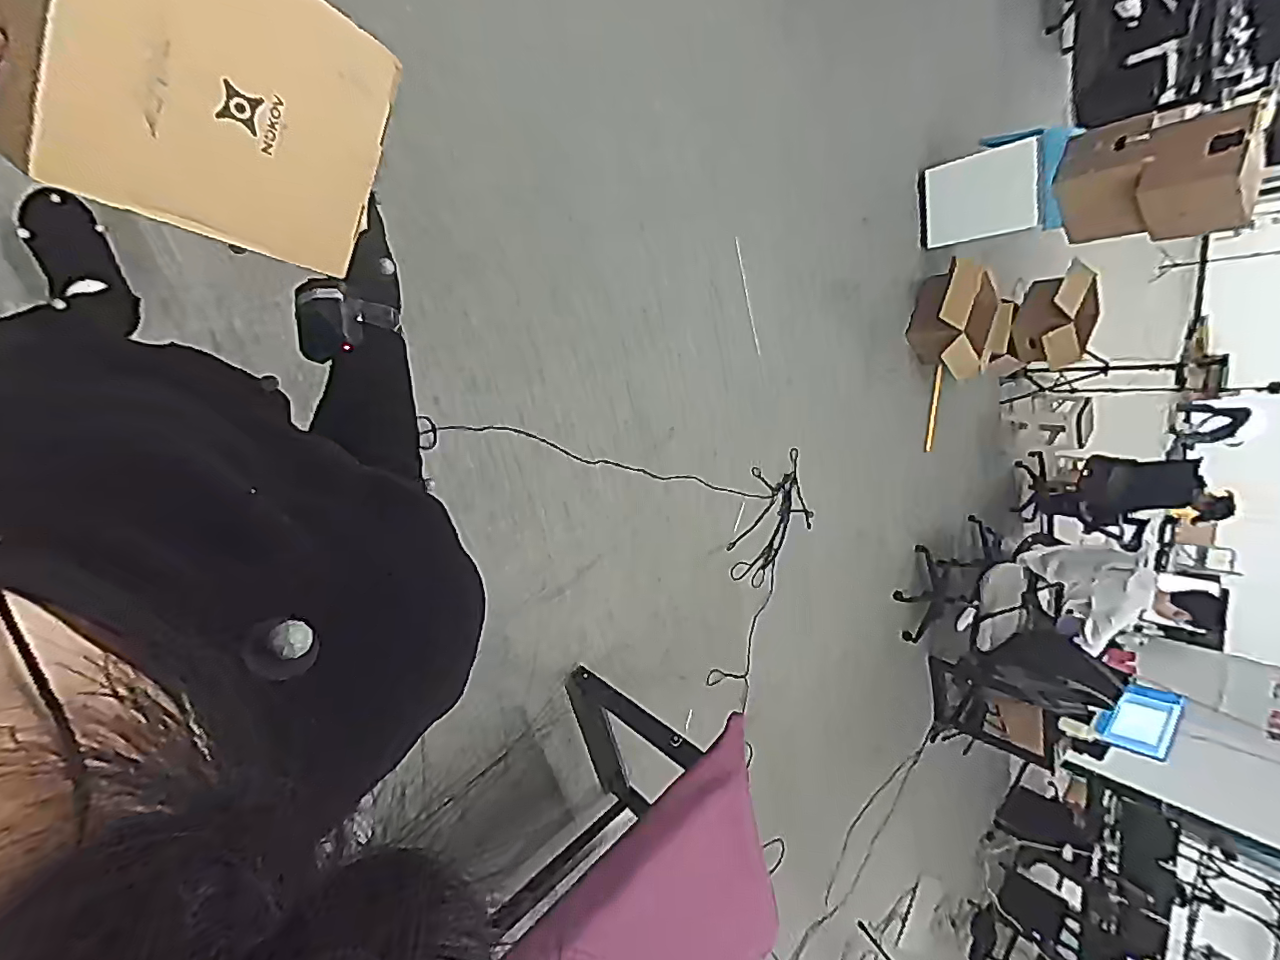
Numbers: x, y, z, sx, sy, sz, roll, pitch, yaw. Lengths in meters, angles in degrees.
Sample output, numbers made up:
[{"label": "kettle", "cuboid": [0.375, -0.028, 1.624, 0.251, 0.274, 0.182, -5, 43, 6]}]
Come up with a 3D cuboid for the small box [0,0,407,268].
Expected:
[{"label": "small box", "cuboid": [-0.301, -0.273, 0.359, 0.179, 0.176, 0.168, 1, 118, -61]}]
